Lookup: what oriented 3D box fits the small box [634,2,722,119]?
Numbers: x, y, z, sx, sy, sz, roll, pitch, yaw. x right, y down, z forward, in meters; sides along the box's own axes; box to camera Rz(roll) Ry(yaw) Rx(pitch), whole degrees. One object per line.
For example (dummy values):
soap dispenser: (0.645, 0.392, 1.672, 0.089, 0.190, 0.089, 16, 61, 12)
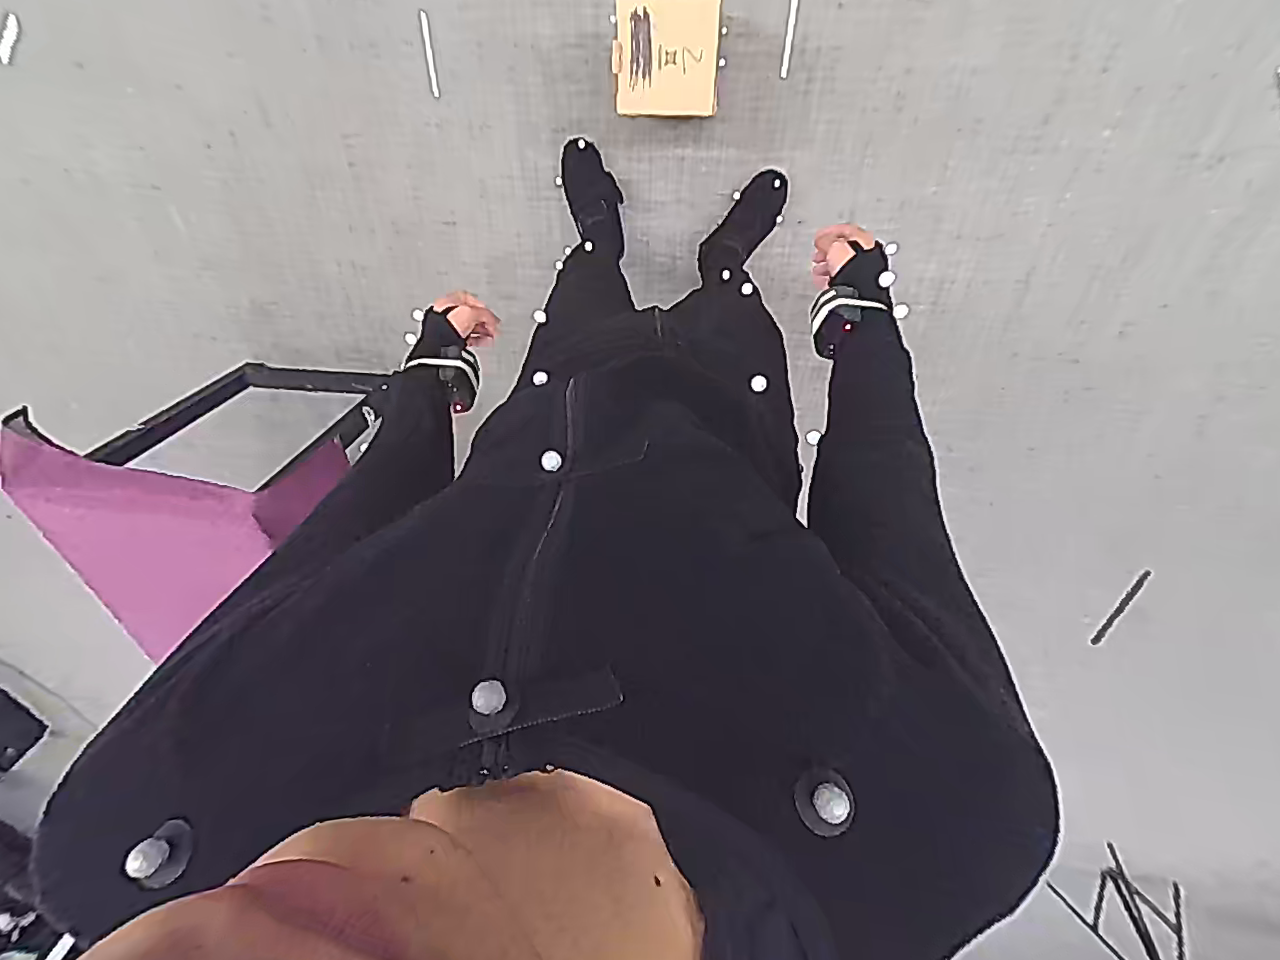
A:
small box: (0.083, -0.859, 1.116, 0.168, 0.176, 0.179, 2, 126, 8)
